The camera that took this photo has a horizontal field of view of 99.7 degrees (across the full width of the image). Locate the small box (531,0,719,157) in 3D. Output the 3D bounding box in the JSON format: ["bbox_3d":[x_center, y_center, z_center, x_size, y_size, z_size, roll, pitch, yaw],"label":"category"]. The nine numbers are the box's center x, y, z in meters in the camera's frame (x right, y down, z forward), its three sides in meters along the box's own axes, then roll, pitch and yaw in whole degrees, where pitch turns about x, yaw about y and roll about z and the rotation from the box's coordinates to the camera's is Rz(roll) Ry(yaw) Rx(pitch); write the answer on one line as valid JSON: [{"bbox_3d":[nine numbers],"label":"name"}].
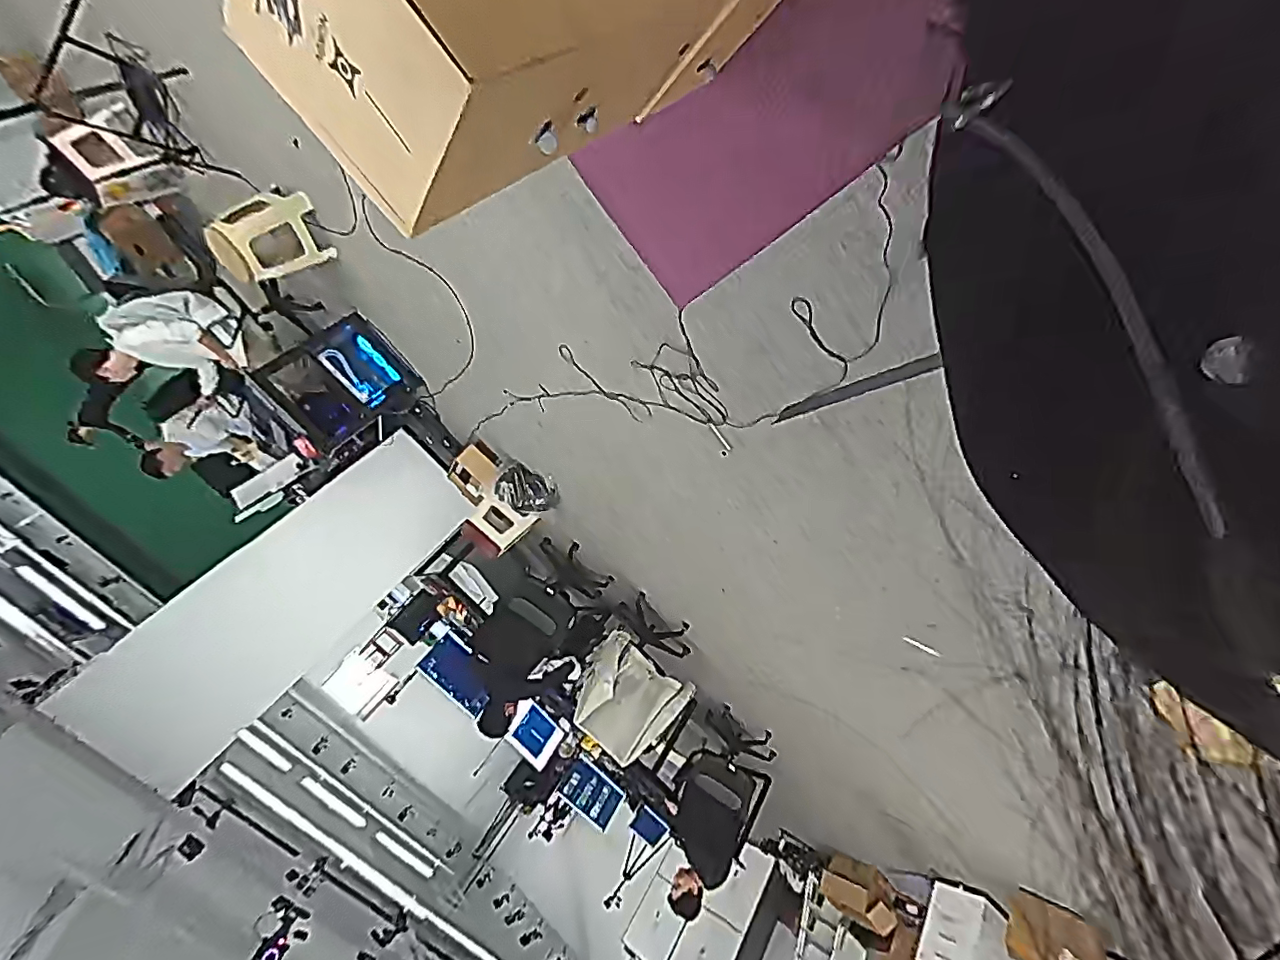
[{"bbox_3d":[-0.063,-0.431,0.466,0.179,0.176,0.168,51,147,-16],"label":"small box"}]

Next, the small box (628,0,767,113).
[{"bbox_3d":[0.031,-0.534,0.552,0.179,0.176,0.168,51,147,-17],"label":"small box"}]

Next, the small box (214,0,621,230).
[{"bbox_3d":[-0.150,-0.322,0.377,0.179,0.176,0.168,50,147,-17],"label":"small box"}]
